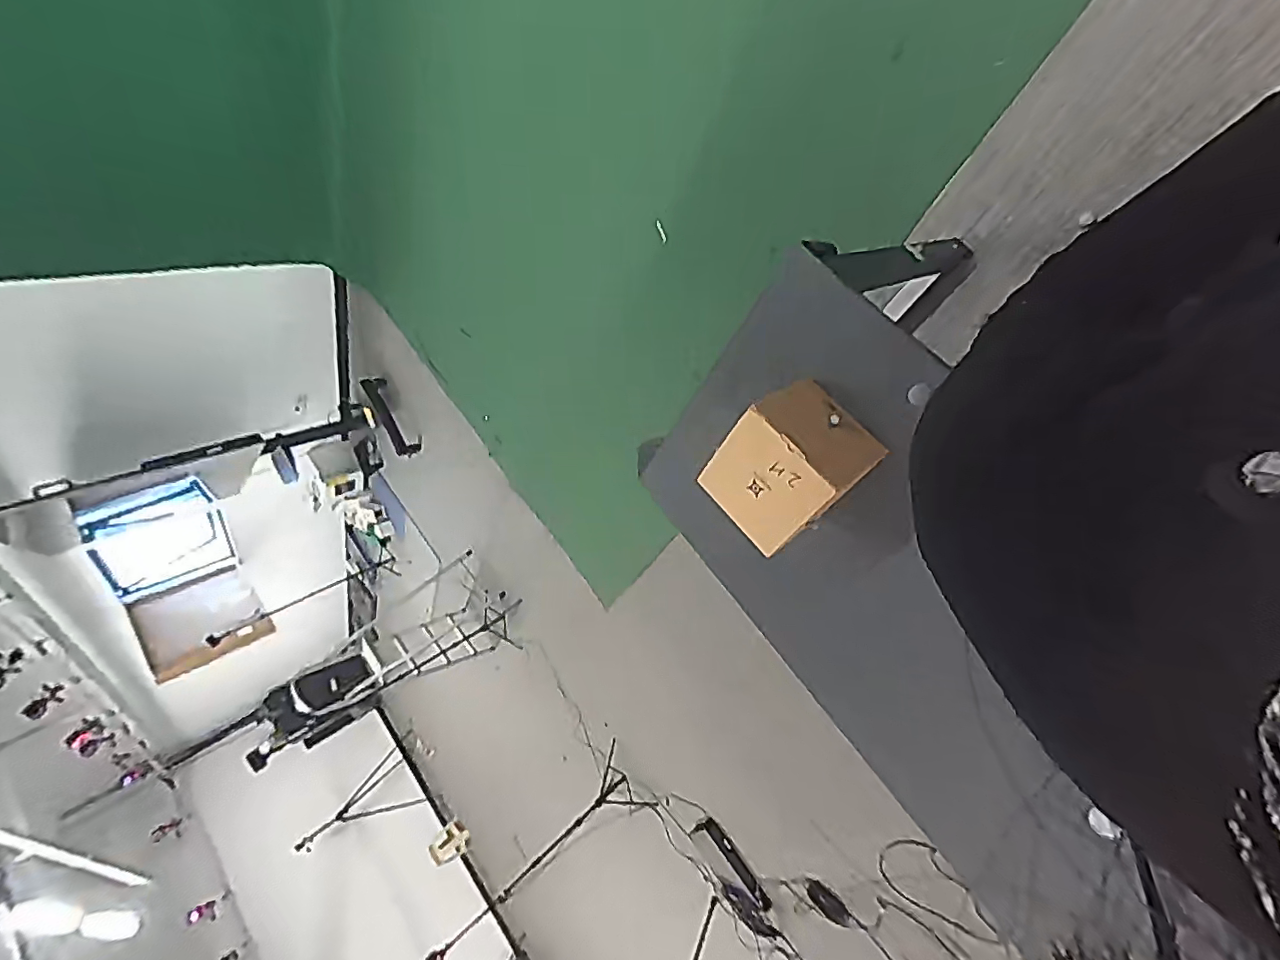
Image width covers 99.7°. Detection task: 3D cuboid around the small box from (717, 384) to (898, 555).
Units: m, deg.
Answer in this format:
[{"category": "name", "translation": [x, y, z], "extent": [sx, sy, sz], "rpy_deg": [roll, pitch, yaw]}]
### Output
[{"category": "small box", "translation": [0.258, -0.020, 0.838], "extent": [0.168, 0.176, 0.179], "rpy_deg": [49, 139, 18]}]
